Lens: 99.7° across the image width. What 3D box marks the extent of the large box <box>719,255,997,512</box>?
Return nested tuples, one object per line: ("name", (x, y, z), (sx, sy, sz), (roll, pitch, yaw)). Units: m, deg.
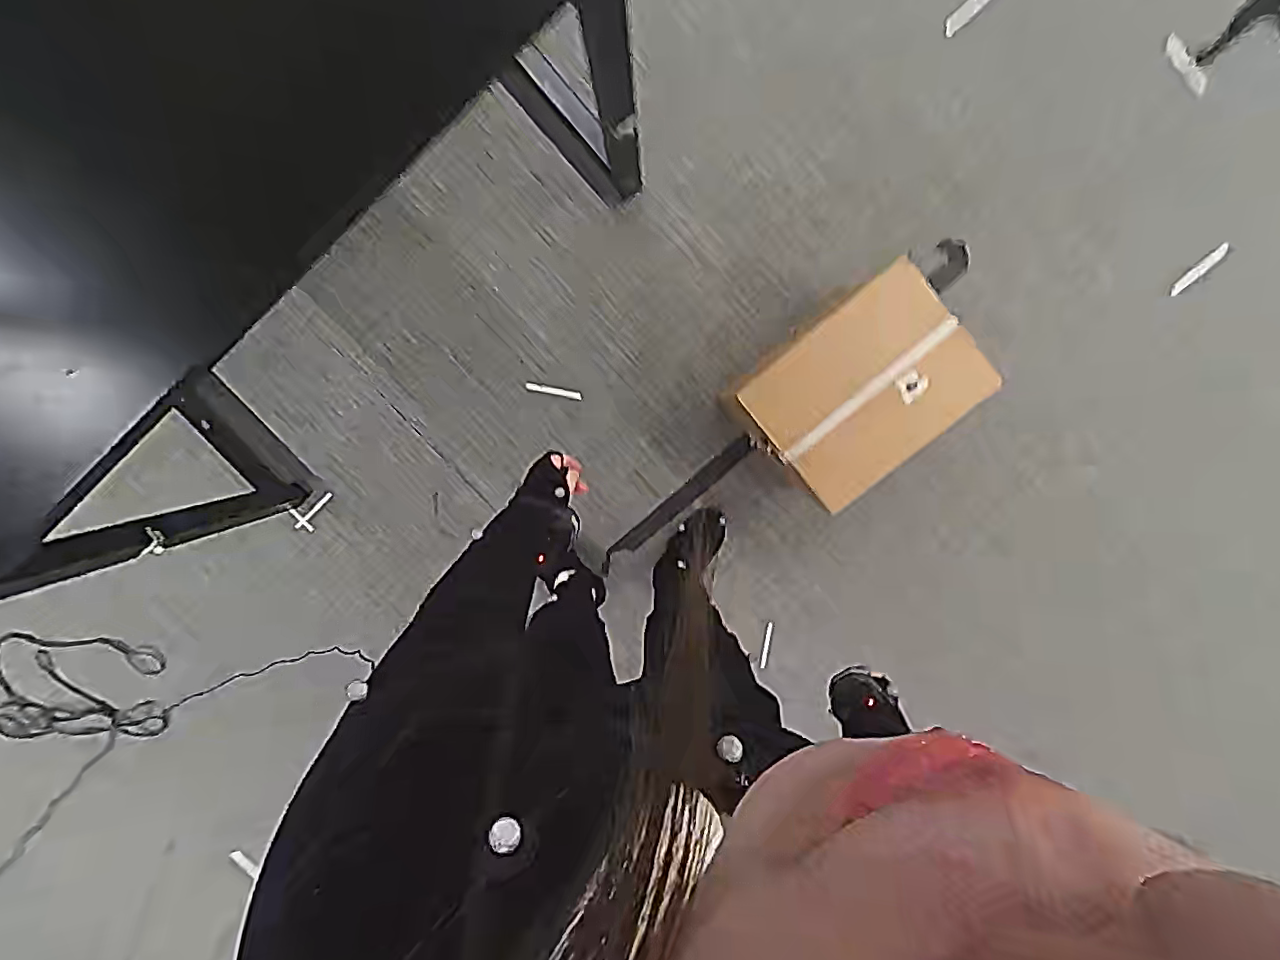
("large box", (0.434, -0.193, 1.176), (0.408, 0.320, 0.320), (-40, 96, 5))
